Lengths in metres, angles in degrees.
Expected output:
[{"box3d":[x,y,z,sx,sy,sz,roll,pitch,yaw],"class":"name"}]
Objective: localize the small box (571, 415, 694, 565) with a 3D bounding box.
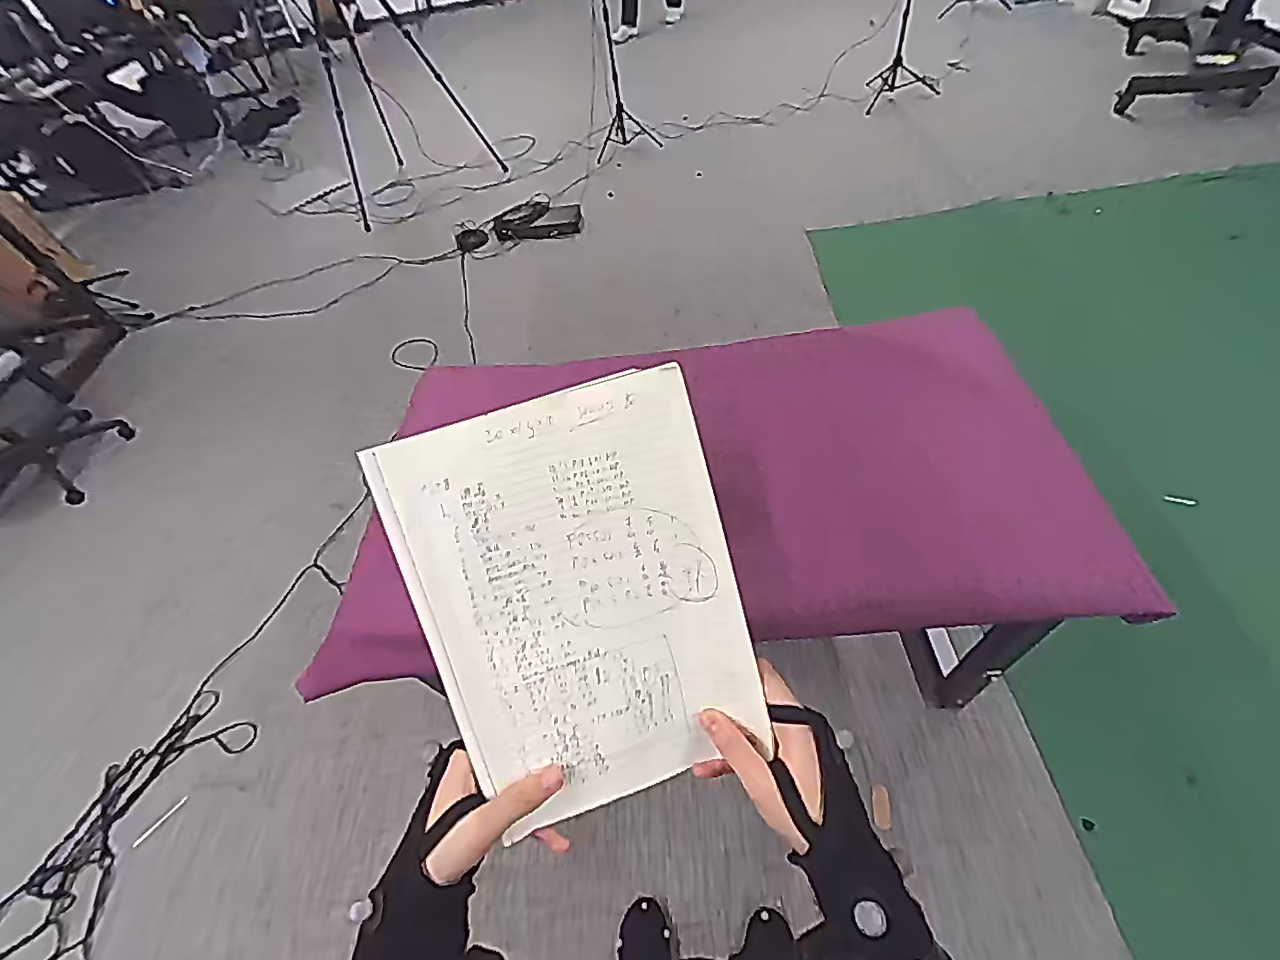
[{"box3d":[-0.005,0.024,0.858,0.168,0.176,0.179,-6,52,6],"class":"small box"}]
